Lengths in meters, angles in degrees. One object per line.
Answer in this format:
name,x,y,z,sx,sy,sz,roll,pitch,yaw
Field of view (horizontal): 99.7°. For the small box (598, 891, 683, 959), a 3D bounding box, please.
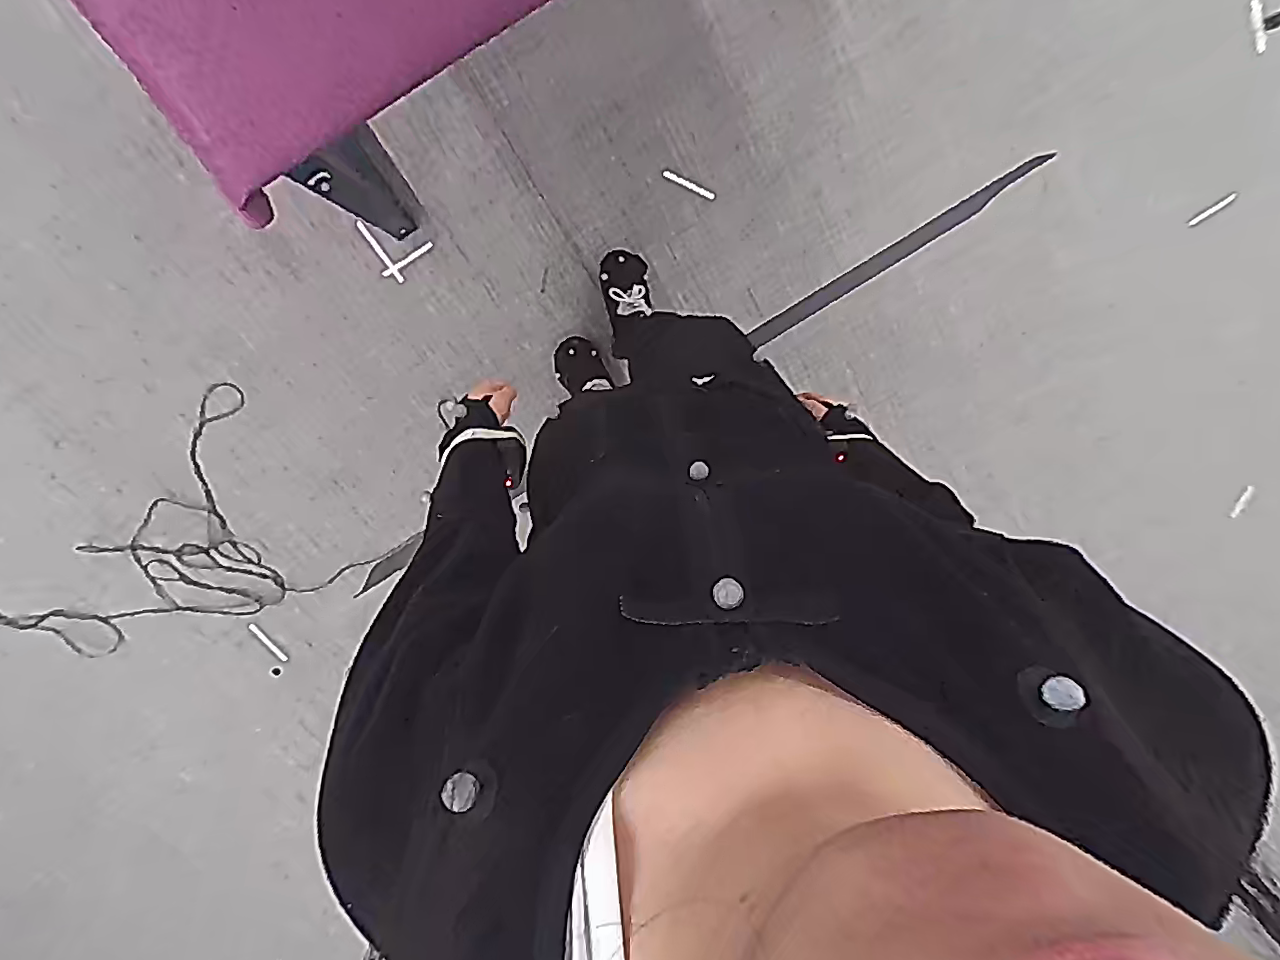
small box,-0.006,1.256,1.462,0.179,0.176,0.168,15,102,-12
